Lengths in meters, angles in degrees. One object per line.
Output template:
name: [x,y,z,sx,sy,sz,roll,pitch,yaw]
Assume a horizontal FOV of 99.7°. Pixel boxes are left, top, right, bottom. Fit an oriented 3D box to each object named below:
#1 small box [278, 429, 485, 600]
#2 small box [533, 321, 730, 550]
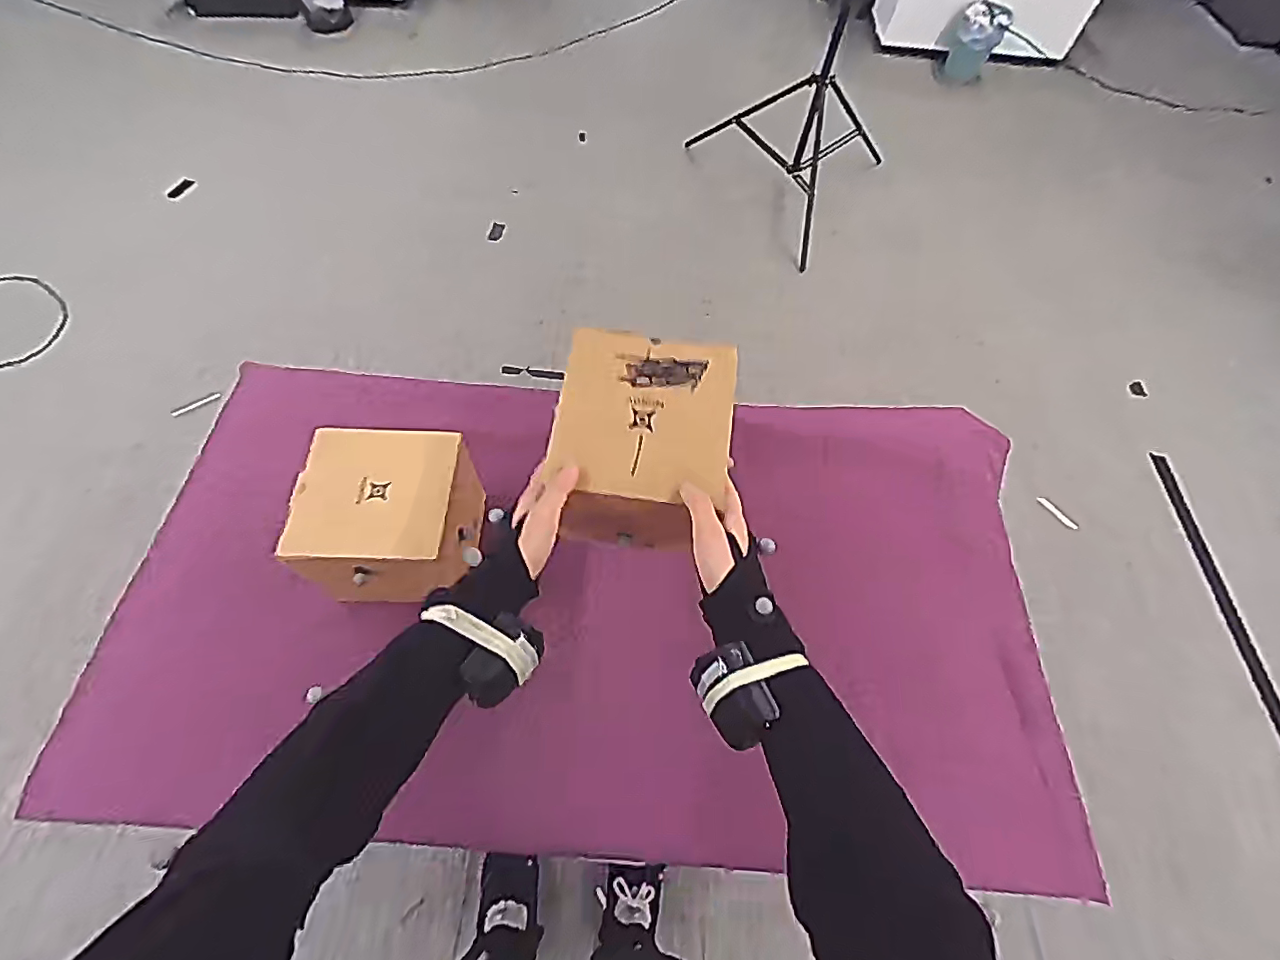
small box: [-0.307,0.051,0.692,0.179,0.176,0.168,1,62,-2]
small box: [-0.006,-0.038,0.578,0.168,0.176,0.179,8,69,2]
